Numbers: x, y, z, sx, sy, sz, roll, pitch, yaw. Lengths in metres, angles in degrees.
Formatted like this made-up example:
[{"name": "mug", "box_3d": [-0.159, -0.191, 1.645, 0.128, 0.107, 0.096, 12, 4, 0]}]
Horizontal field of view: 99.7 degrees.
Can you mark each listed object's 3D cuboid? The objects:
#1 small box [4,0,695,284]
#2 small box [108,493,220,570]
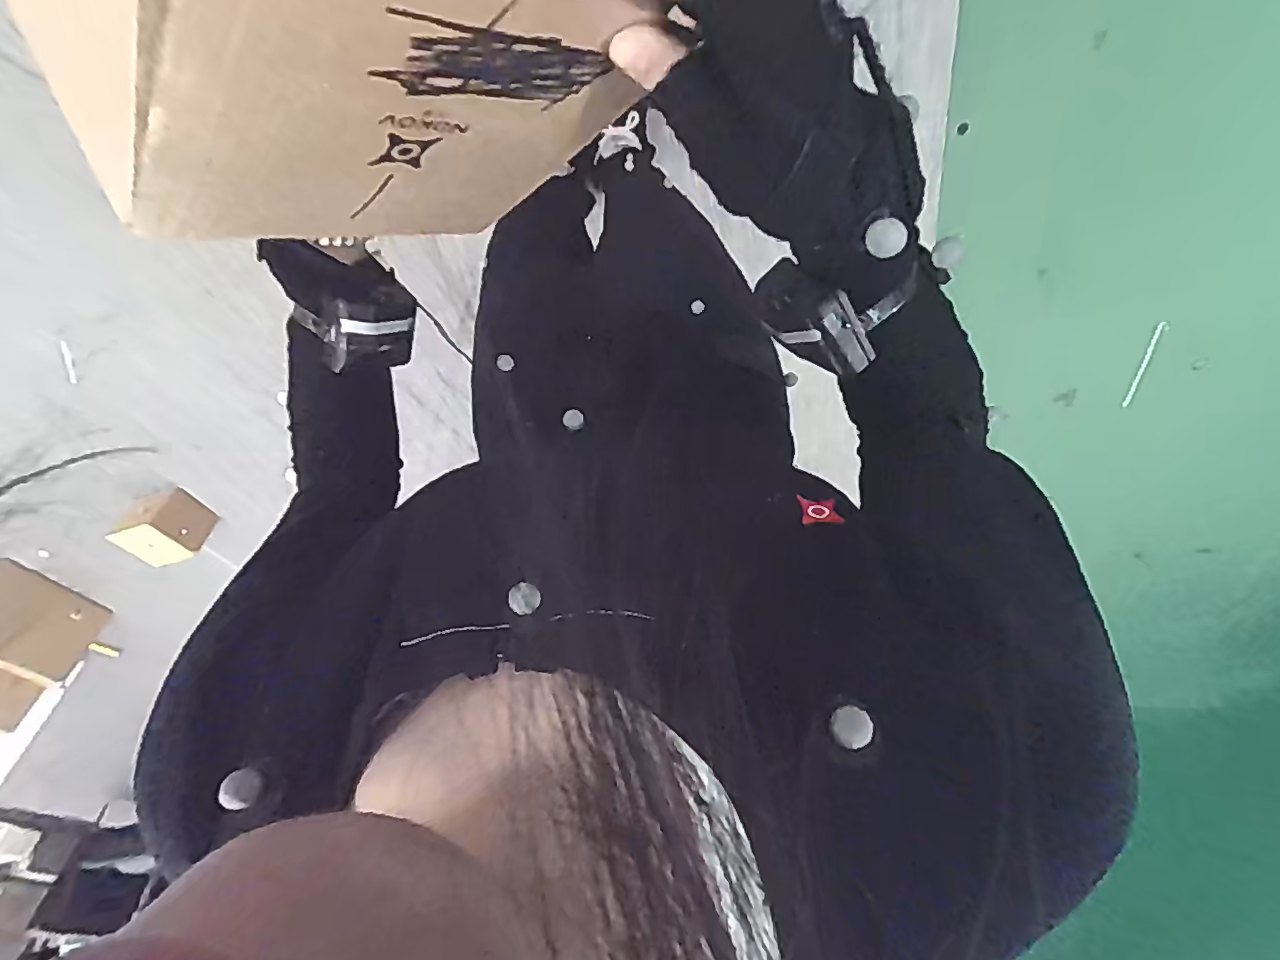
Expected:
[{"name": "small box", "box_3d": [-0.116, -0.195, 0.196, 0.179, 0.168, 0.176, -16, 98, 45]}, {"name": "small box", "box_3d": [-1.530, 0.161, 1.750, 0.168, 0.176, 0.179, -16, 135, 10]}]
